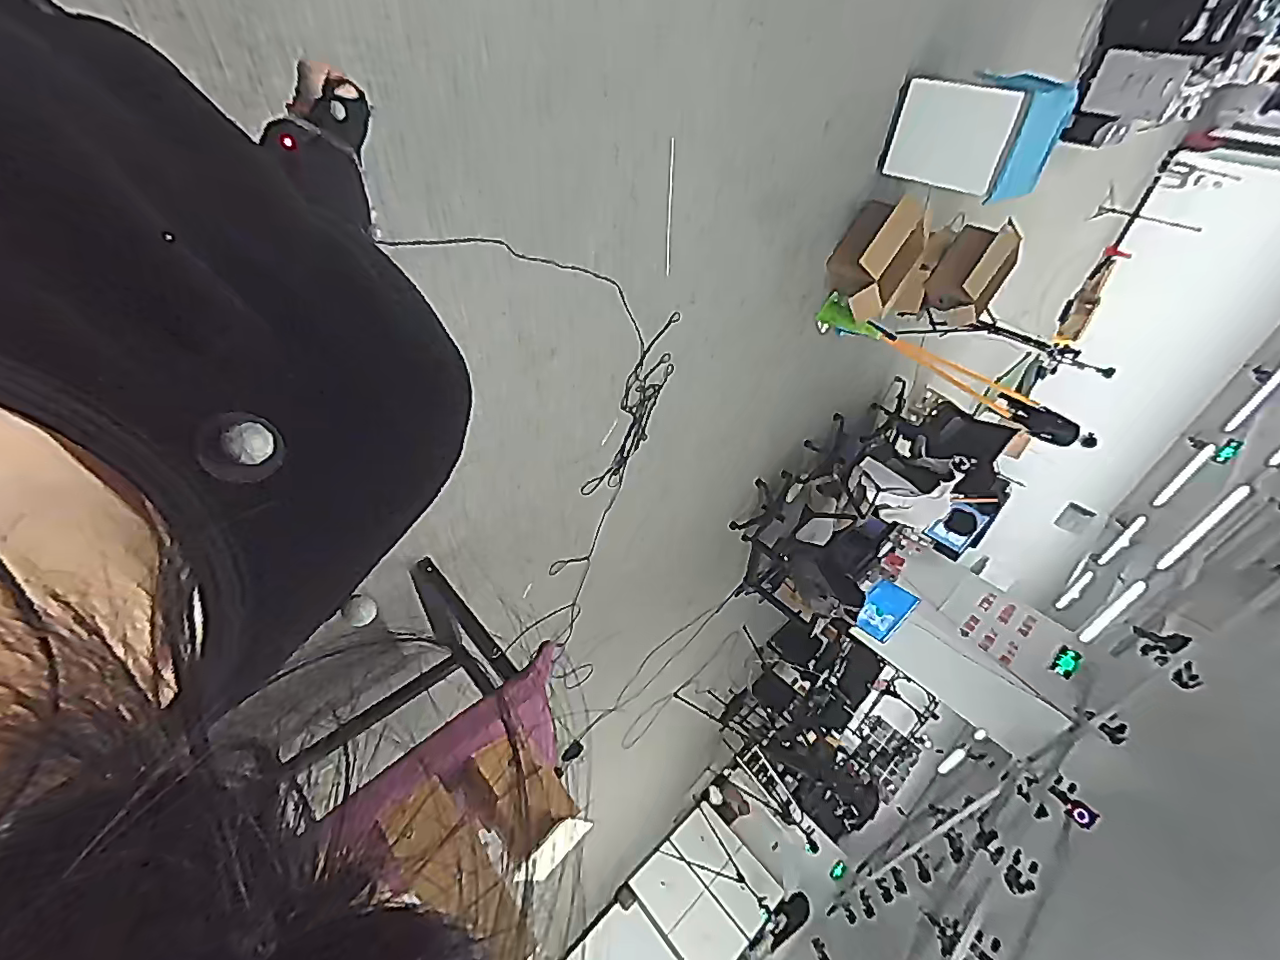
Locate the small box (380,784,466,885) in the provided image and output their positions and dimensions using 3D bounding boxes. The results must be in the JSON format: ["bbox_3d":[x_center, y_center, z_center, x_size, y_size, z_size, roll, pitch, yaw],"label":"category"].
[{"bbox_3d":[-0.575,0.965,1.462,0.168,0.176,0.179,-29,142,-32],"label":"small box"}]

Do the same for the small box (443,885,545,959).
[{"bbox_3d":[-0.348,1.122,1.284,0.179,0.176,0.168,-29,142,-31],"label":"small box"}]

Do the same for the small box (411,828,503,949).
[{"bbox_3d":[-0.458,1.037,1.371,0.179,0.176,0.168,-29,142,-31],"label":"small box"}]

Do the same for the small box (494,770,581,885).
[{"bbox_3d":[-0.293,0.971,1.522,0.179,0.176,0.168,-20,135,-42],"label":"small box"}]
